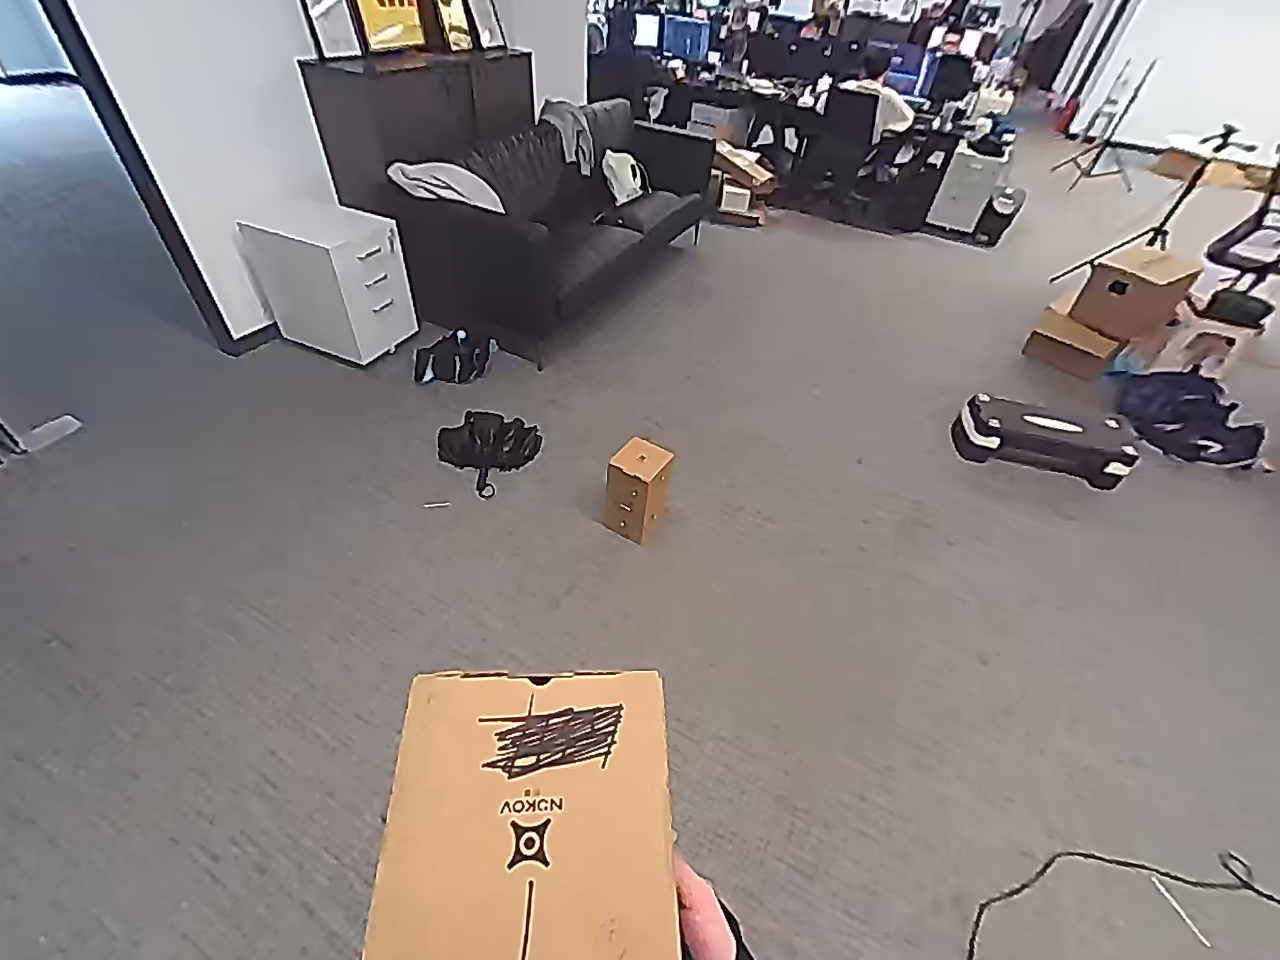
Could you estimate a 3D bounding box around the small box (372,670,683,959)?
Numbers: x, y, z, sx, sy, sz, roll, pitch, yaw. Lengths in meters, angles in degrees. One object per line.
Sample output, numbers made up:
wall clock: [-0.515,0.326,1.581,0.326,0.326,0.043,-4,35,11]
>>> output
small box: [-0.070,0.247,0.385,0.168,0.176,0.179,2,56,-7]
